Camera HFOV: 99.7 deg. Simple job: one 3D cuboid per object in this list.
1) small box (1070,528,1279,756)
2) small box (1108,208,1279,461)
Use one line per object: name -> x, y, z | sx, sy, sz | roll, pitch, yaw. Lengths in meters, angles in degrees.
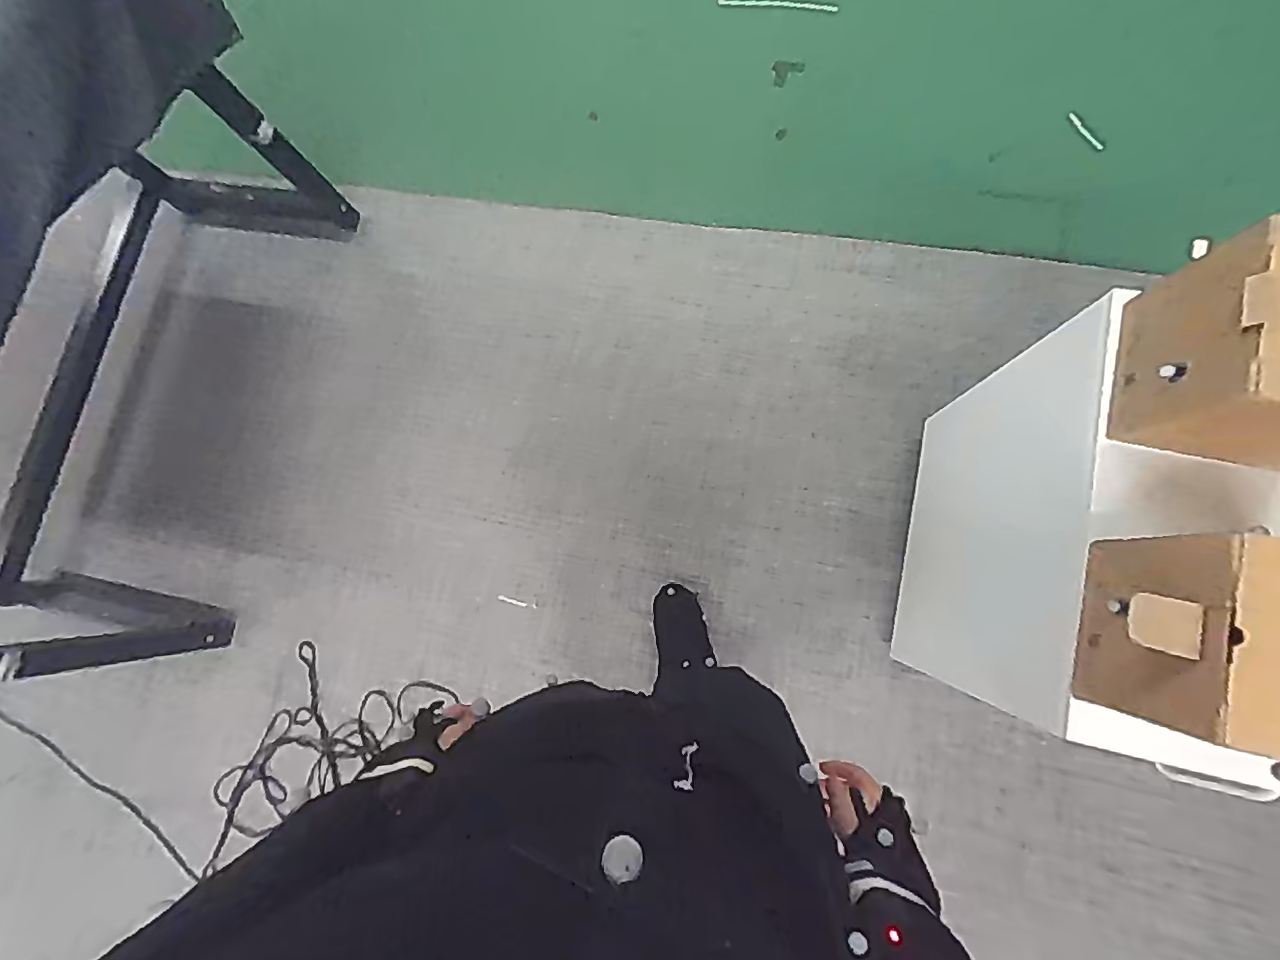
small box -> 0.536, 0.144, 0.475 | 0.179, 0.176, 0.168 | 12, 82, 9
small box -> 0.600, -0.122, 0.512 | 0.179, 0.176, 0.168 | 12, 84, 7
